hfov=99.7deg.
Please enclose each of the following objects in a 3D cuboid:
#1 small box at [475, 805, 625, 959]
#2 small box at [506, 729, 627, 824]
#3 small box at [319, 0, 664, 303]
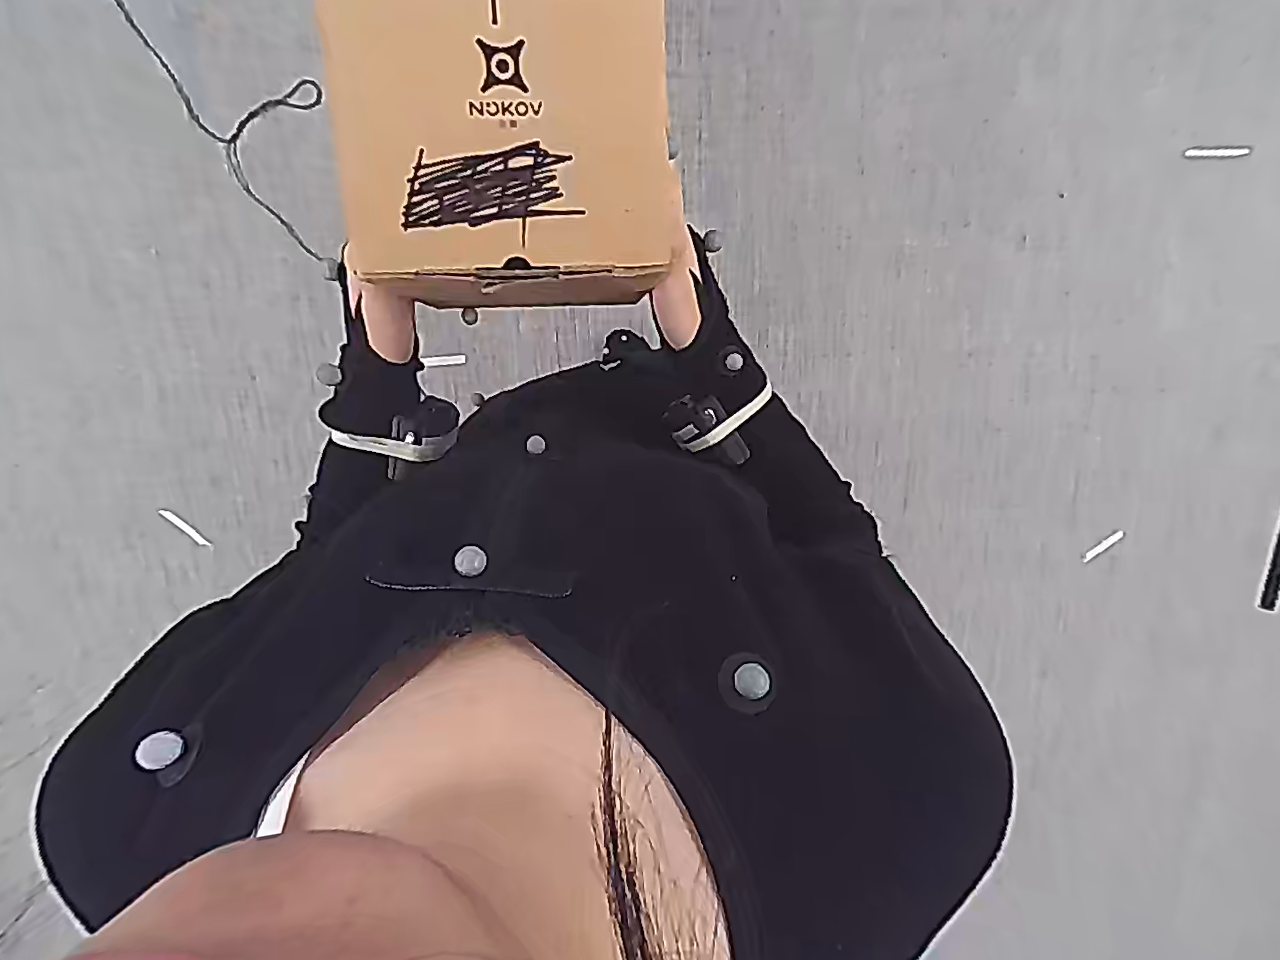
[{"bbox_3d":[-0.112,0.572,0.733,0.179,0.176,0.168,2,102,-1],"label":"small box"},{"bbox_3d":[-0.113,0.535,0.890,0.179,0.176,0.168,2,103,-1],"label":"small box"},{"bbox_3d":[-0.078,-0.212,0.348,0.168,0.176,0.179,-4,101,-6],"label":"small box"}]
